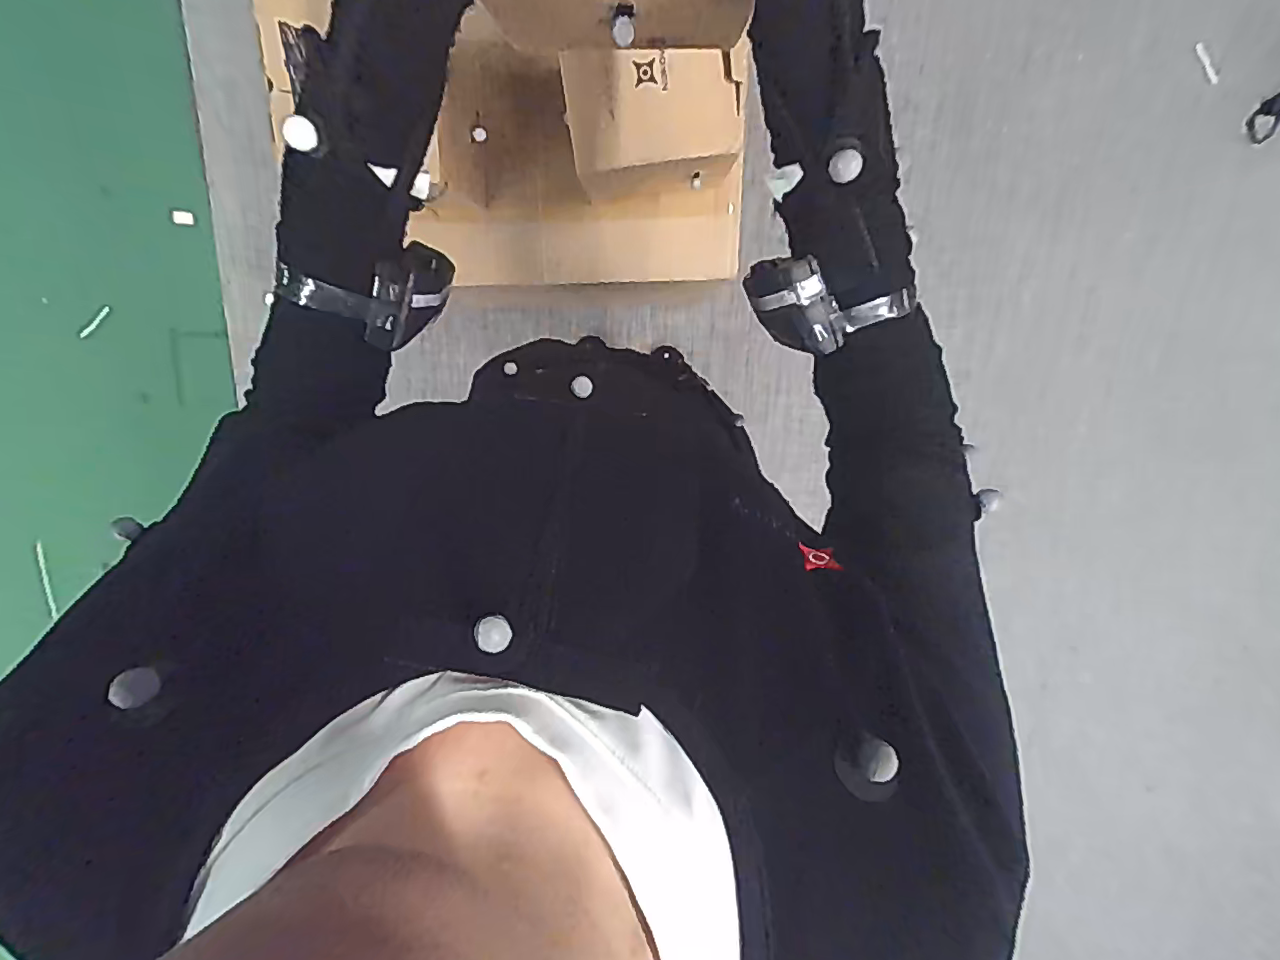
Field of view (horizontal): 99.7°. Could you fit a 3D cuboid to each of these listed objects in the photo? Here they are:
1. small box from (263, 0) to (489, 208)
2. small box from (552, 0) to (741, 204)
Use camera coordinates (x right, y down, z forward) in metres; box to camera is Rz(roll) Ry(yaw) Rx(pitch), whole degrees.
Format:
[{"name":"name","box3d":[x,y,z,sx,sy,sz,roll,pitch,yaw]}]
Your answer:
[{"name":"small box","box3d":[-0.288,-0.424,0.630,0.179,0.176,0.168,3,108,0]},{"name":"small box","box3d":[0.012,-0.431,0.620,0.179,0.176,0.168,-7,106,5]}]
